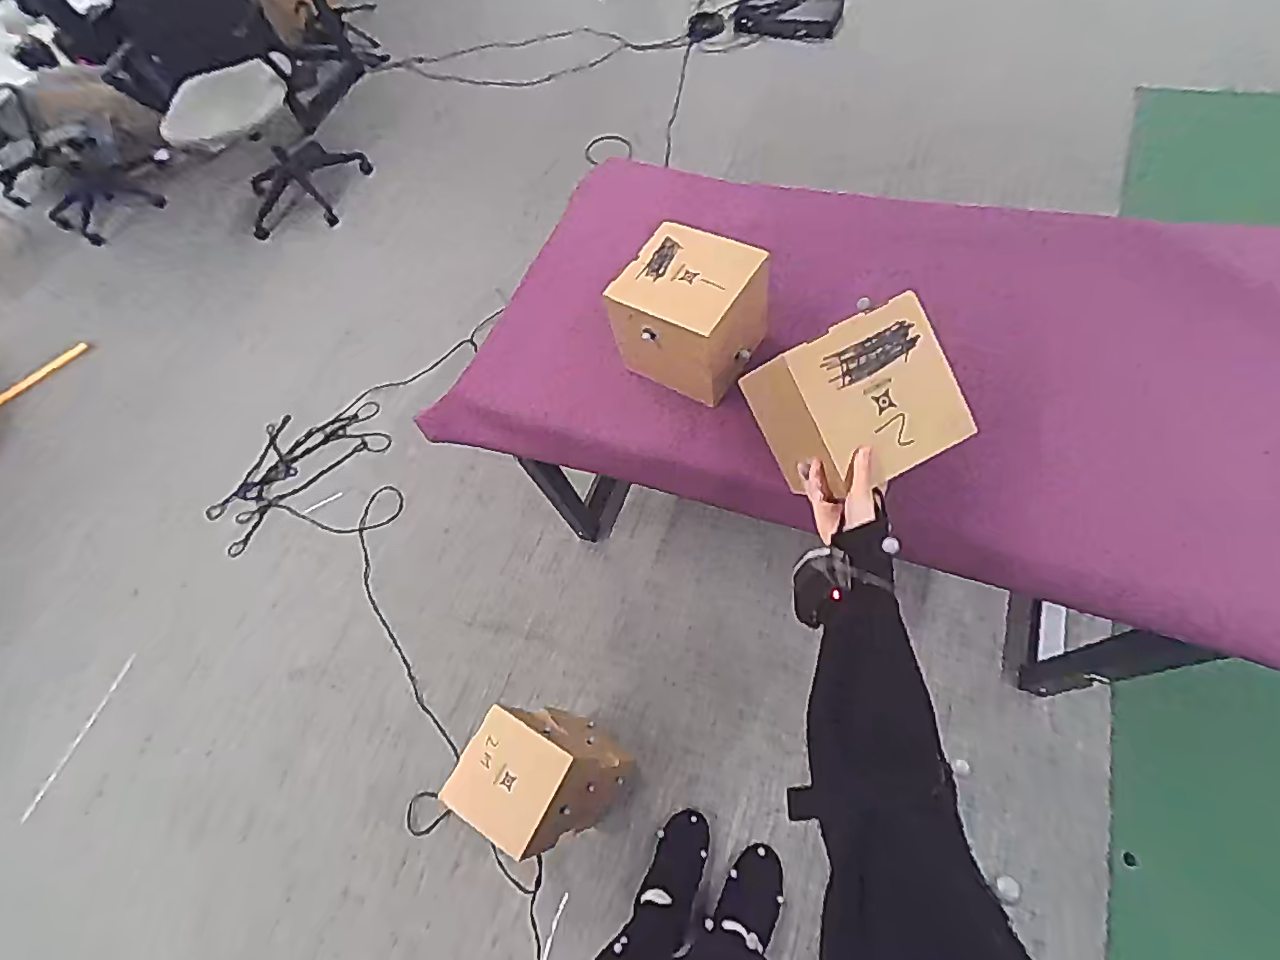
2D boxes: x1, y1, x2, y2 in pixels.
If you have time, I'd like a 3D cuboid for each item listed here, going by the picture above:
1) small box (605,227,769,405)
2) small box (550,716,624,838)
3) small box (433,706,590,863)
[{"bbox_3d":[0.076,-0.243,0.822,0.179,0.176,0.168,29,72,22],"label":"small box"},{"bbox_3d":[-0.152,0.665,1.227,0.168,0.176,0.179,31,73,24],"label":"small box"},{"bbox_3d":[-0.210,0.519,0.941,0.179,0.176,0.168,24,68,23],"label":"small box"}]
